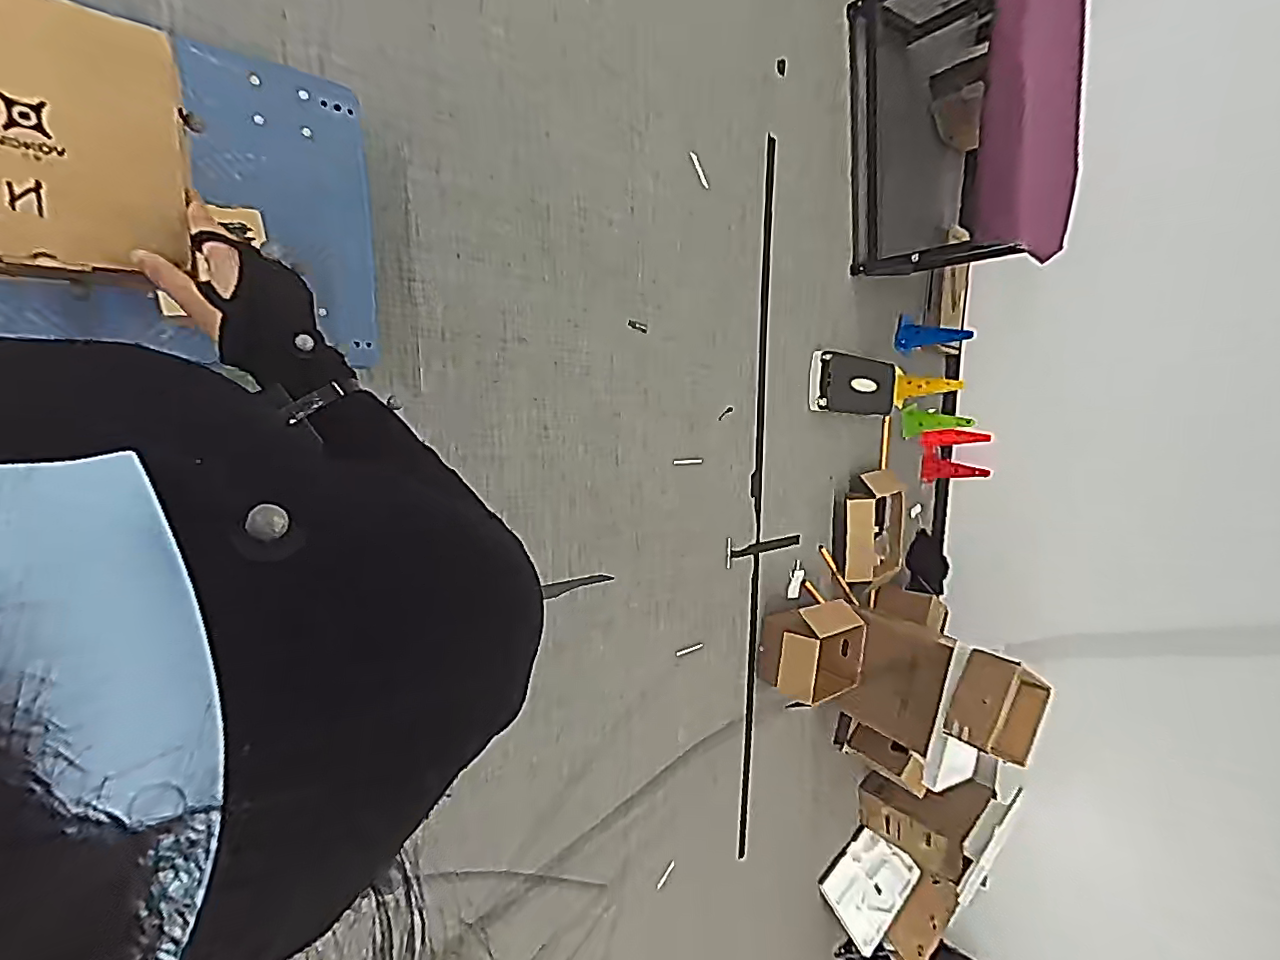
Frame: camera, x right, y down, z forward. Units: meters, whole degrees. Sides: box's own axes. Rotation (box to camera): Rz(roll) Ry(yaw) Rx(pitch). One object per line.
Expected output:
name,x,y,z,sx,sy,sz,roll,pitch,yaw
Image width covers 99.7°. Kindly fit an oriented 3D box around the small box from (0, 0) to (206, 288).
small box,-0.454,-0.257,0.425,0.168,0.176,0.179,-5,106,-37
